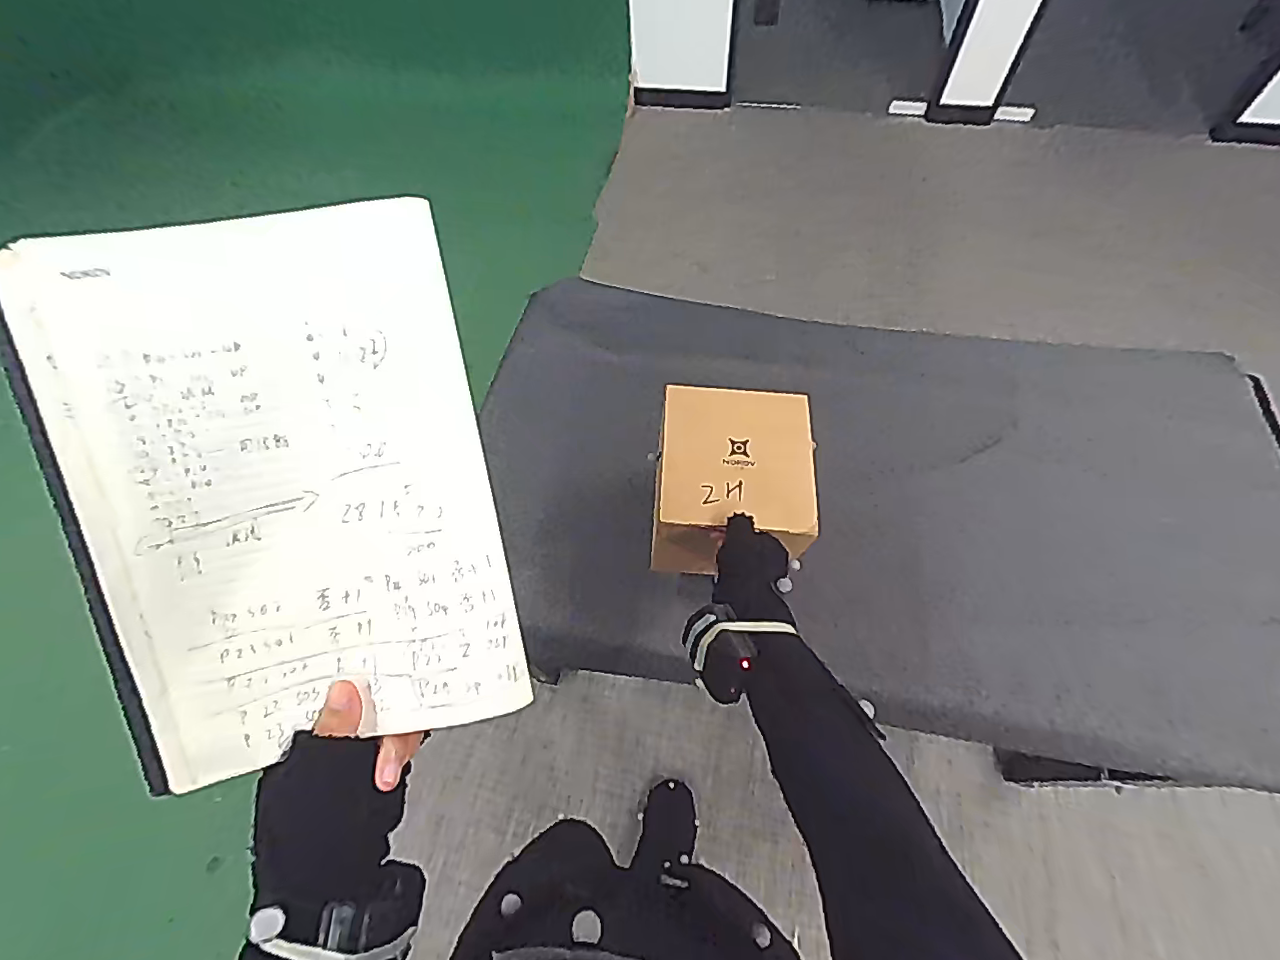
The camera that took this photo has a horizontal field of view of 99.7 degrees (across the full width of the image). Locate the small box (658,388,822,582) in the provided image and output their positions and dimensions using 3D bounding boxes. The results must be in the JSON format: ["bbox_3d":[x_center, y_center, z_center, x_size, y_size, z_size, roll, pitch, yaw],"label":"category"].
[{"bbox_3d":[0.110,0.011,0.665,0.168,0.176,0.179,4,63,1],"label":"small box"}]
